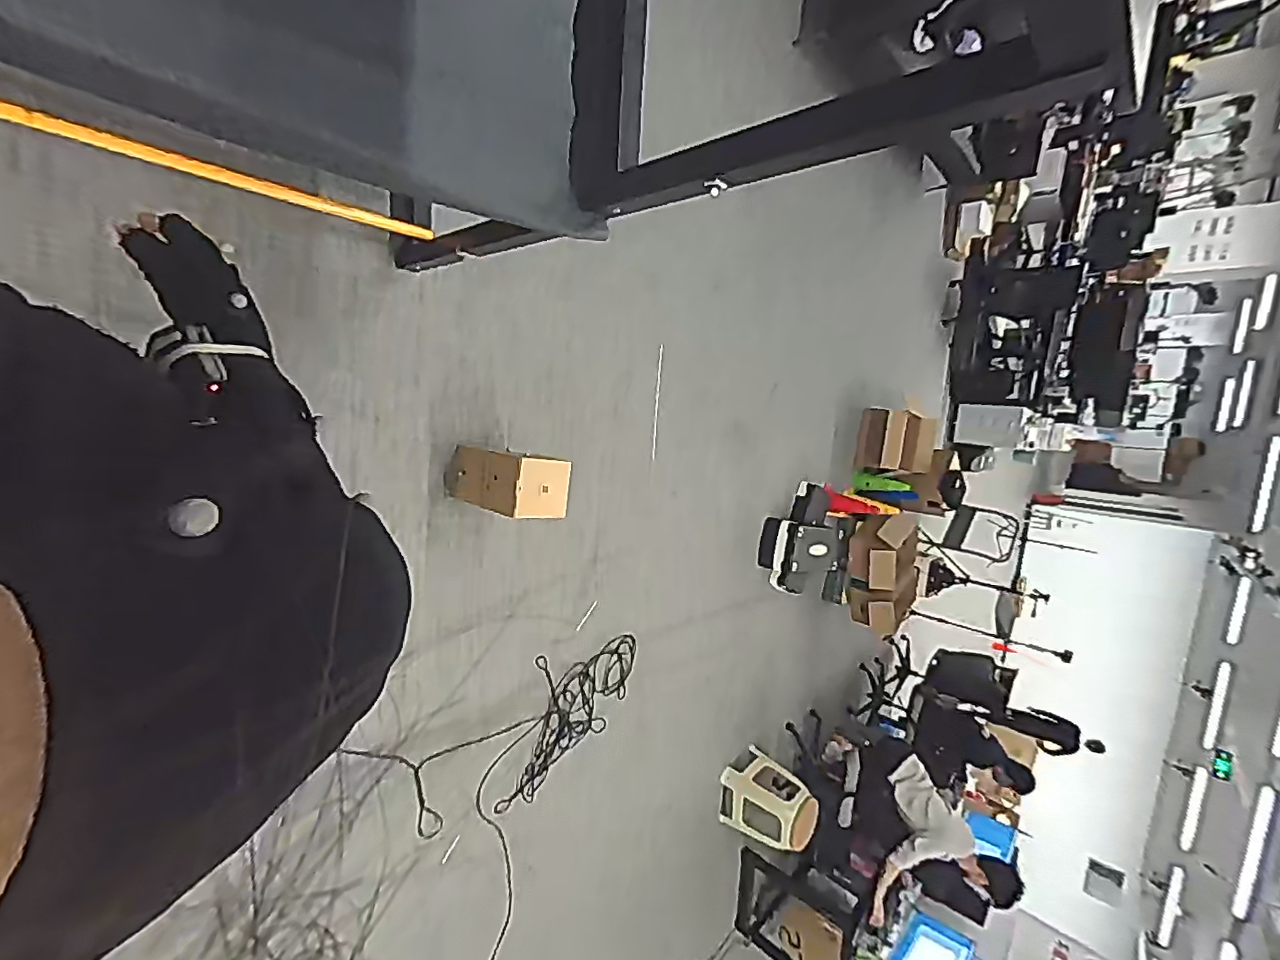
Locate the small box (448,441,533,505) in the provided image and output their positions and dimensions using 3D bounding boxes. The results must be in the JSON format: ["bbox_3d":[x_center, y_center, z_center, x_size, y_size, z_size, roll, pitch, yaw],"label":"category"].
[{"bbox_3d":[-0.457,-0.023,1.649,0.179,0.176,0.168,5,94,-47],"label":"small box"}]
